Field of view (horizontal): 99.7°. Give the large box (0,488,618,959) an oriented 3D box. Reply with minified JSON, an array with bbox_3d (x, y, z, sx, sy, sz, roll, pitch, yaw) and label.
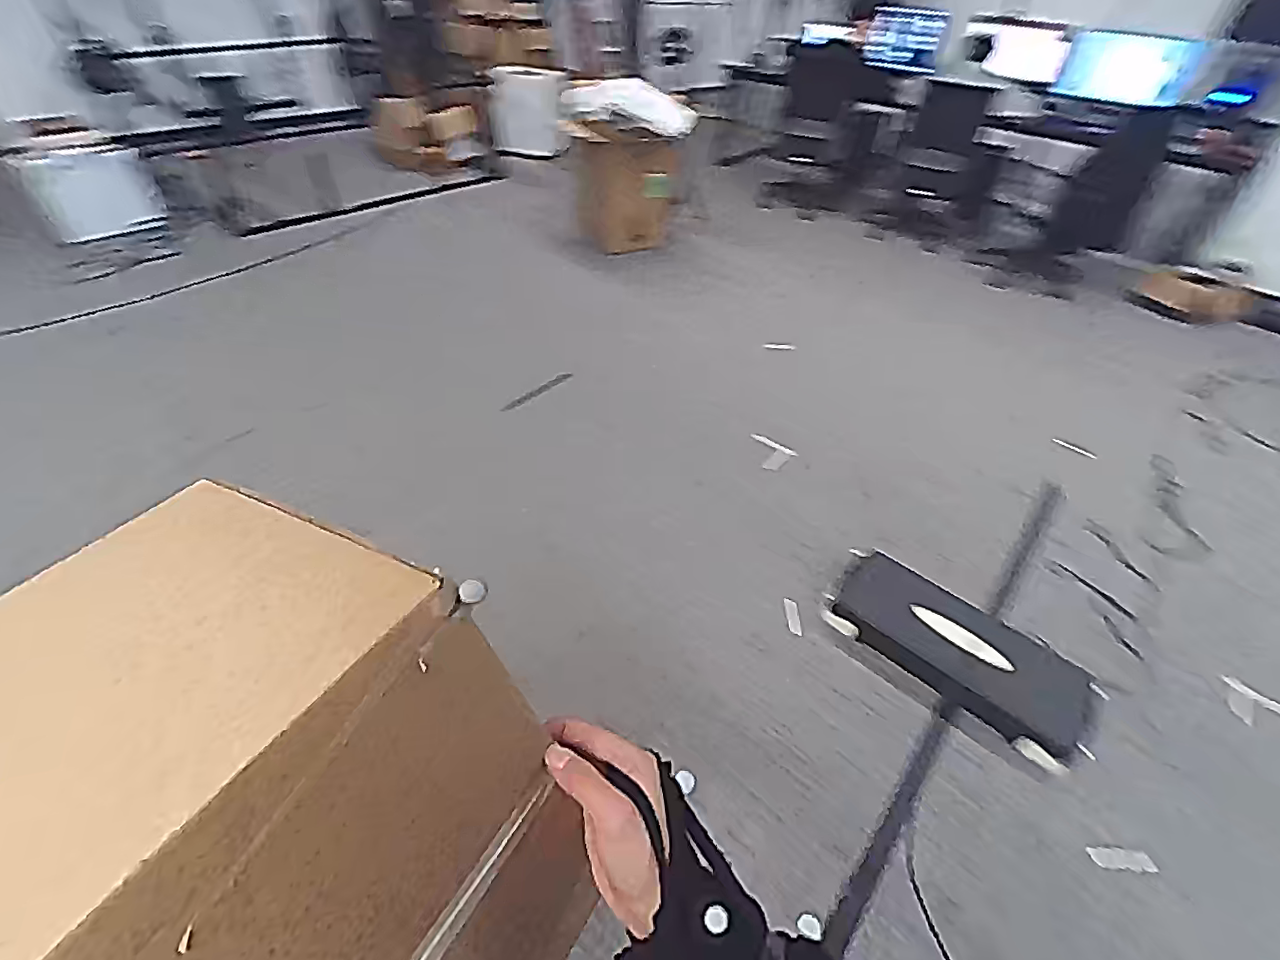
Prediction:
[{"bbox_3d":[-0.281,0.262,0.315,0.320,0.320,0.408,12,45,35],"label":"large box"}]
